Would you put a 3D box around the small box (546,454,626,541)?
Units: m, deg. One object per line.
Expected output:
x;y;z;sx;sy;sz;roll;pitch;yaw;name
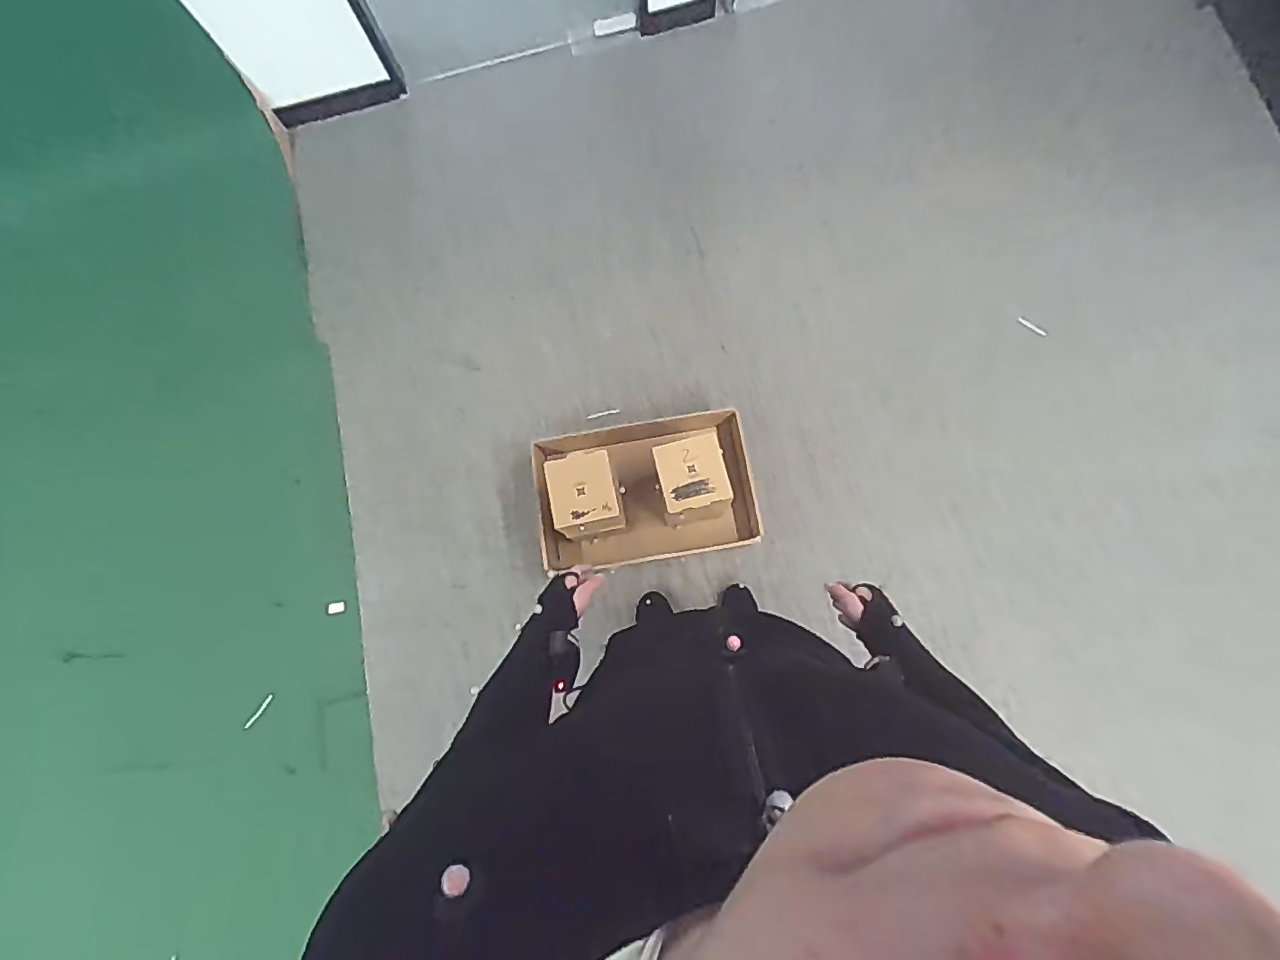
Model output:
-0.136;0.050;1.402;0.168;0.176;0.179;-12;76;3;small box
